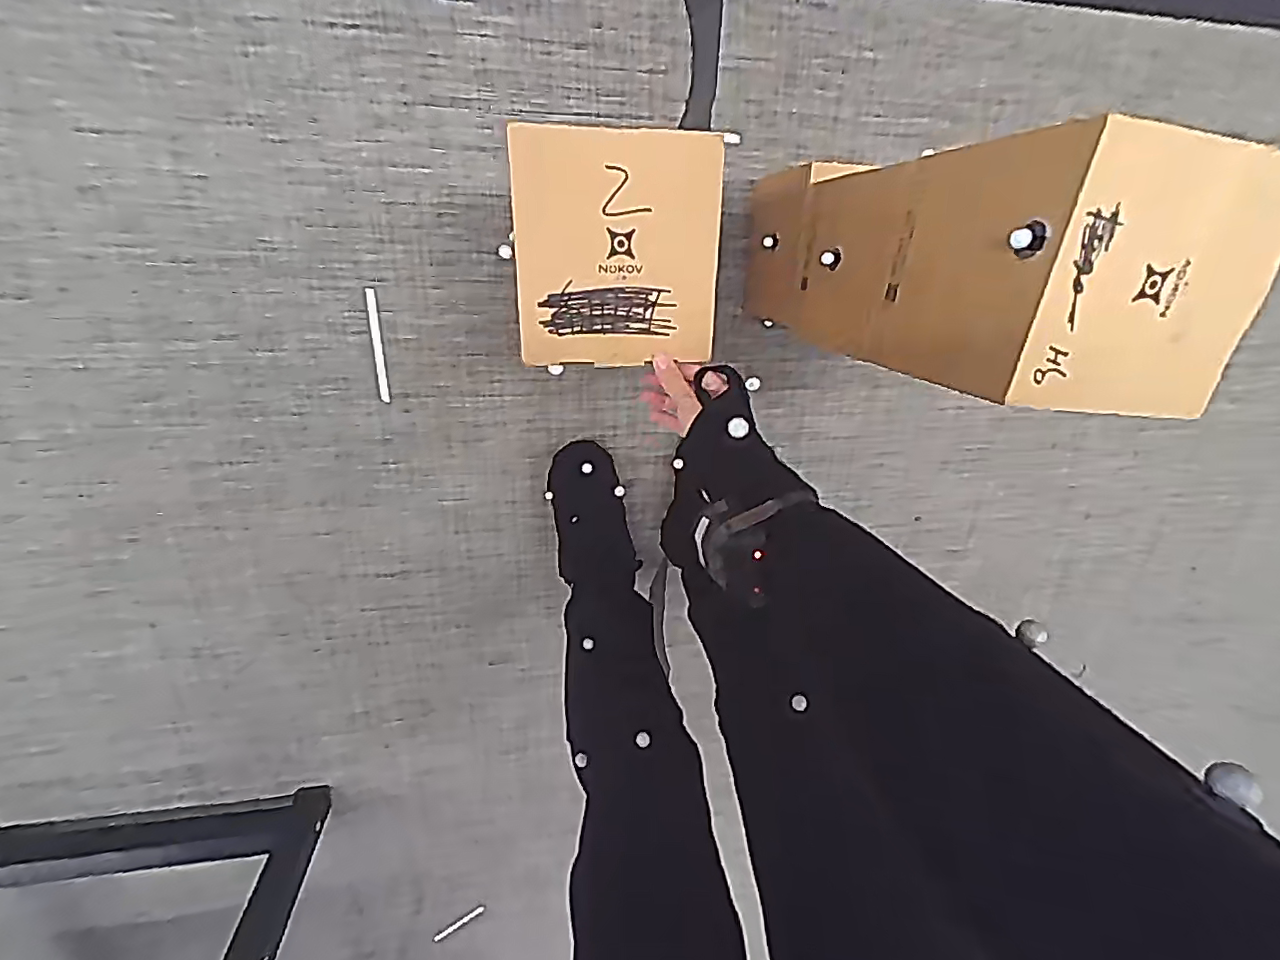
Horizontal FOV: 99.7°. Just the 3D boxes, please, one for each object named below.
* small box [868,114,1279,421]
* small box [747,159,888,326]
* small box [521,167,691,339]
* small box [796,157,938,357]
[{"bbox_3d":[0.314,-0.151,0.411,0.179,0.176,0.168,2,113,-14],"label":"small box"},{"bbox_3d":[0.249,-0.299,0.698,0.168,0.176,0.179,-3,113,-11],"label":"small box"},{"bbox_3d":[-0.050,-0.266,0.652,0.179,0.176,0.168,-2,113,-11],"label":"small box"},{"bbox_3d":[0.284,-0.219,0.557,0.179,0.176,0.168,-1,114,-12],"label":"small box"}]
